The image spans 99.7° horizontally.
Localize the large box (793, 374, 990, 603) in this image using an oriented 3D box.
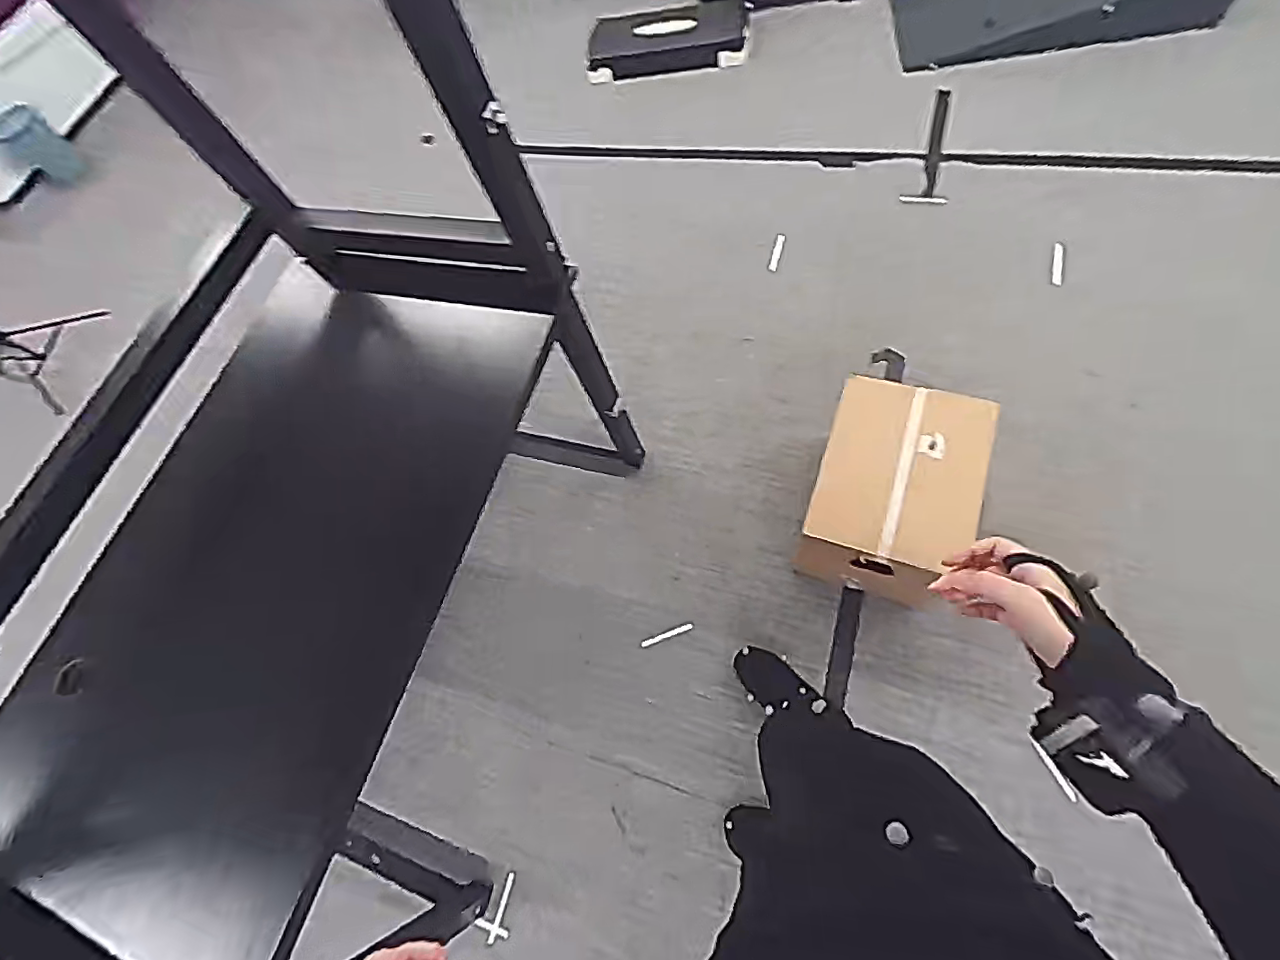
[{"bbox_3d":[0.562,0.030,1.260,0.320,0.320,0.408,16,71,16],"label":"large box"}]
